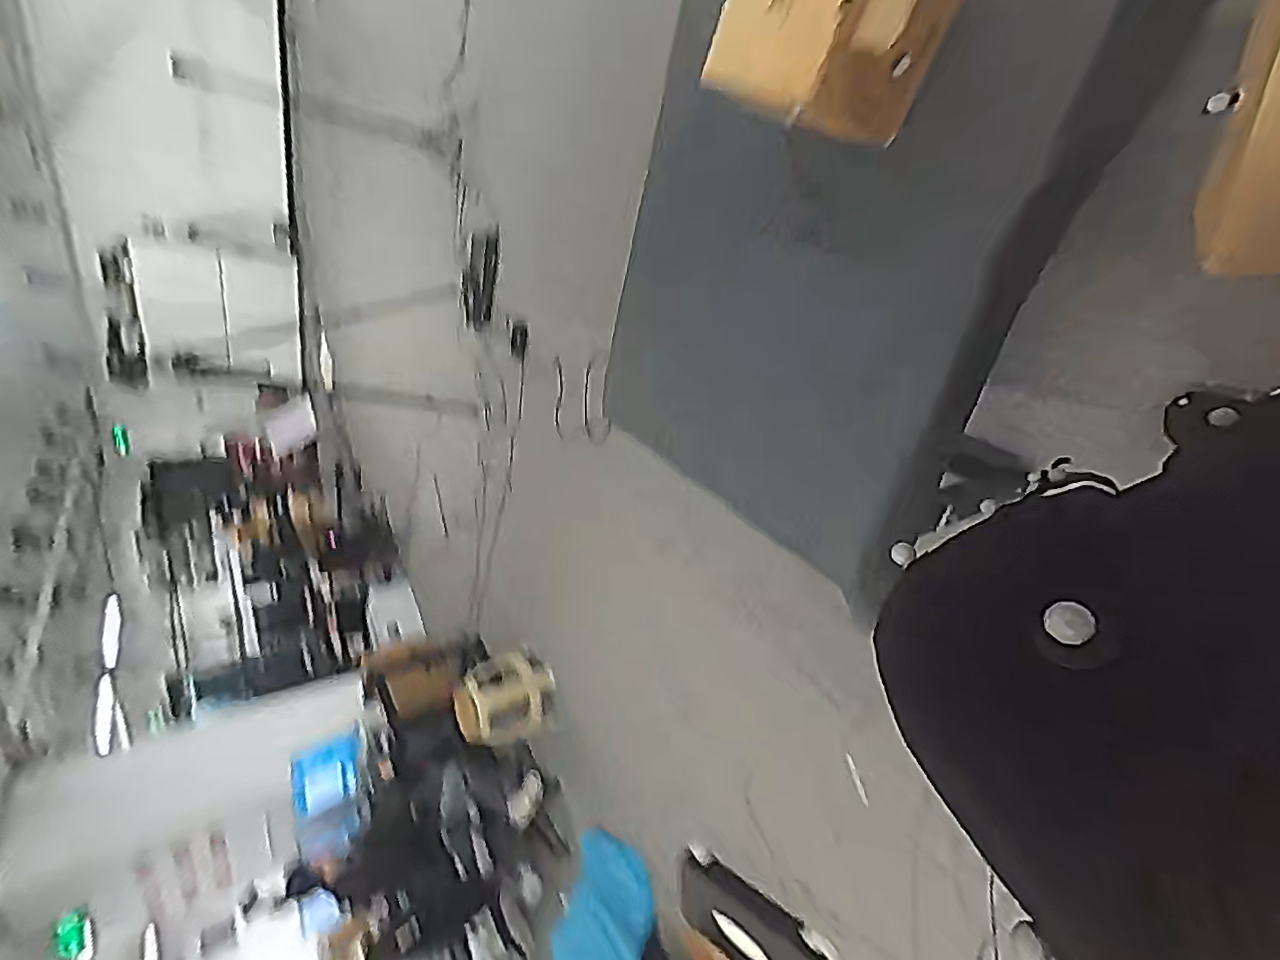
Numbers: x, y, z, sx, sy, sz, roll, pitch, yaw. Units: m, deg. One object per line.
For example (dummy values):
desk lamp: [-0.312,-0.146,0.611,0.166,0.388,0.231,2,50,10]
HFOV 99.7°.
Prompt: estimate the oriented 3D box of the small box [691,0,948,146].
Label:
small box: [0.194,-0.498,0.602,0.179,0.176,0.168,46,129,36]
